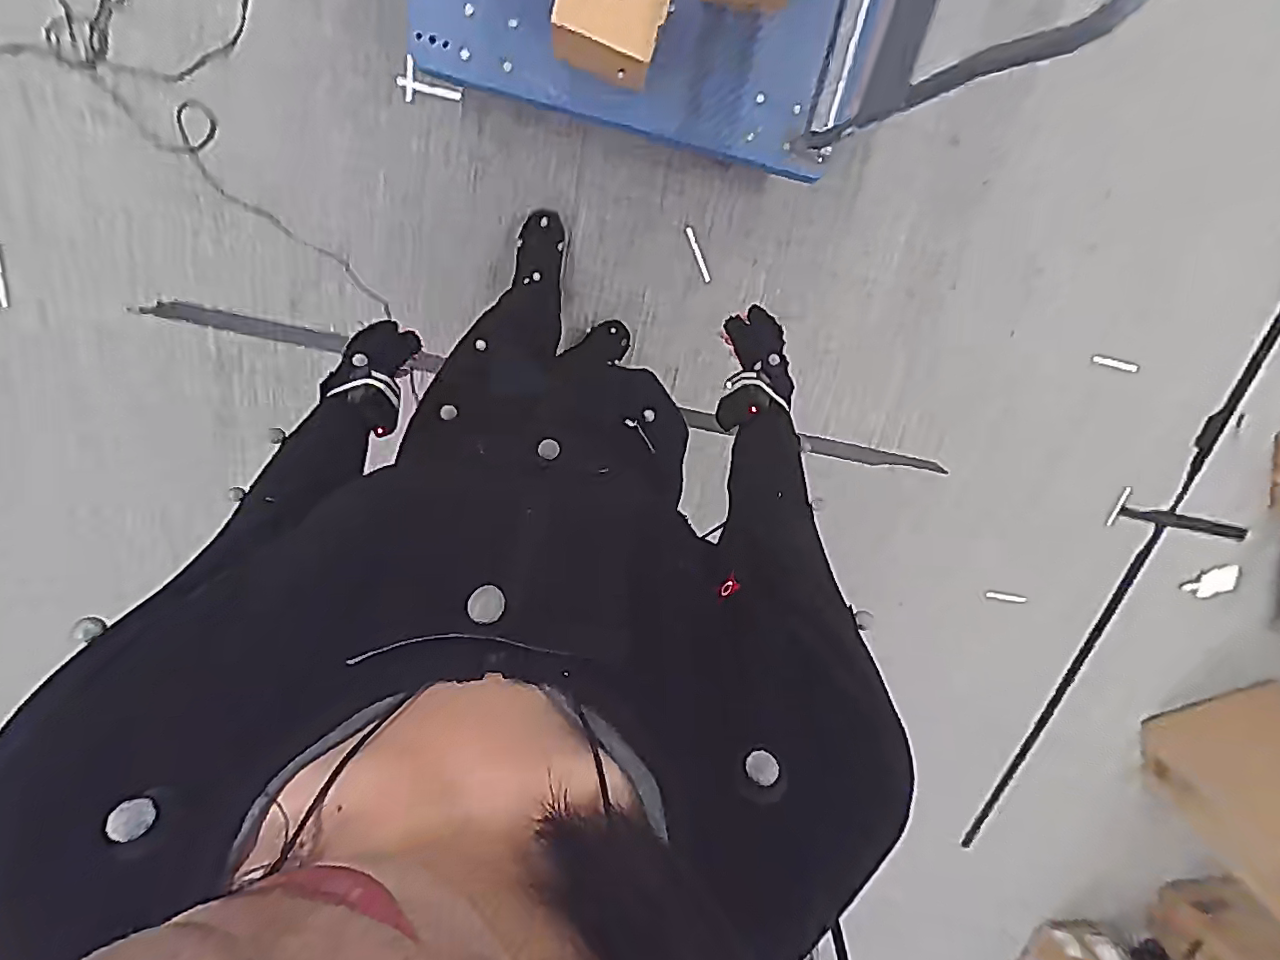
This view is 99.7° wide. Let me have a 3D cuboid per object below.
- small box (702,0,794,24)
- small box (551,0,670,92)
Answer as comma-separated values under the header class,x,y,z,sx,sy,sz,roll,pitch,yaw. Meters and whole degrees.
class,x,y,z,sx,sy,sz,roll,pitch,yaw
small box,0.209,-0.950,0.939,0.168,0.176,0.179,7,110,-8
small box,-0.048,-0.828,0.961,0.179,0.176,0.168,16,107,-11
